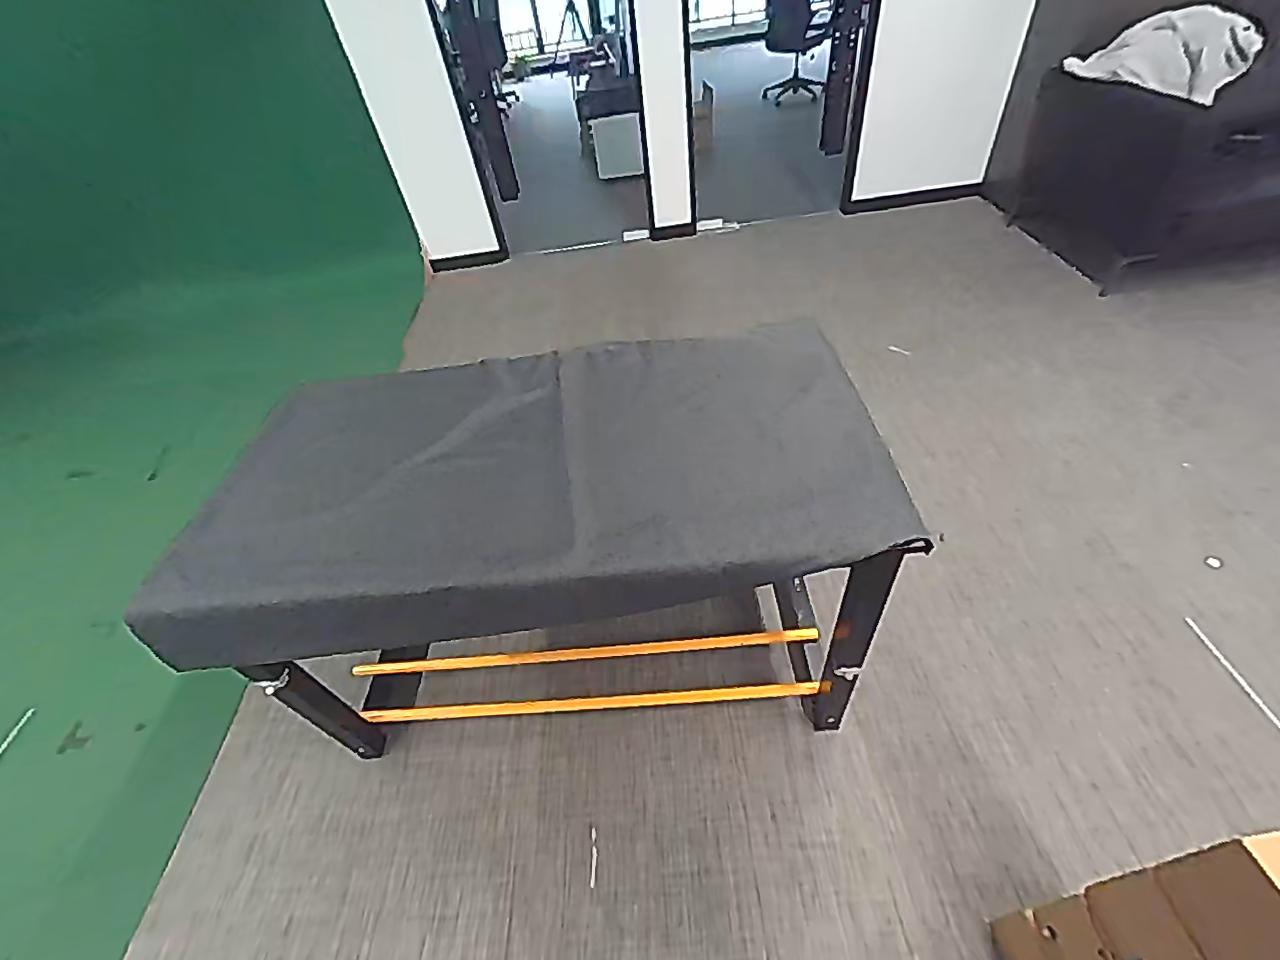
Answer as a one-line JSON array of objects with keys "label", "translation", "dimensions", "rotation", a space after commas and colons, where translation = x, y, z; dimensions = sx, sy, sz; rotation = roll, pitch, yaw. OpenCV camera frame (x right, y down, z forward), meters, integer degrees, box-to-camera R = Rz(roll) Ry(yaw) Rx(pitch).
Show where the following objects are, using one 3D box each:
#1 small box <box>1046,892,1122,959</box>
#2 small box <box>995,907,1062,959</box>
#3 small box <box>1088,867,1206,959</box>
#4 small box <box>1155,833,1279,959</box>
[{"label": "small box", "translation": [0.734, 0.699, 0.779], "dimensions": [0.179, 0.176, 0.168], "rotation": [-9, 45, -1]}, {"label": "small box", "translation": [0.741, 0.814, 0.896], "dimensions": [0.179, 0.176, 0.168], "rotation": [-10, 44, 0]}, {"label": "small box", "translation": [0.720, 0.584, 0.664], "dimensions": [0.168, 0.176, 0.179], "rotation": [-9, 46, 0]}, {"label": "small box", "translation": [0.704, 0.471, 0.547], "dimensions": [0.168, 0.176, 0.179], "rotation": [-9, 45, 0]}]
